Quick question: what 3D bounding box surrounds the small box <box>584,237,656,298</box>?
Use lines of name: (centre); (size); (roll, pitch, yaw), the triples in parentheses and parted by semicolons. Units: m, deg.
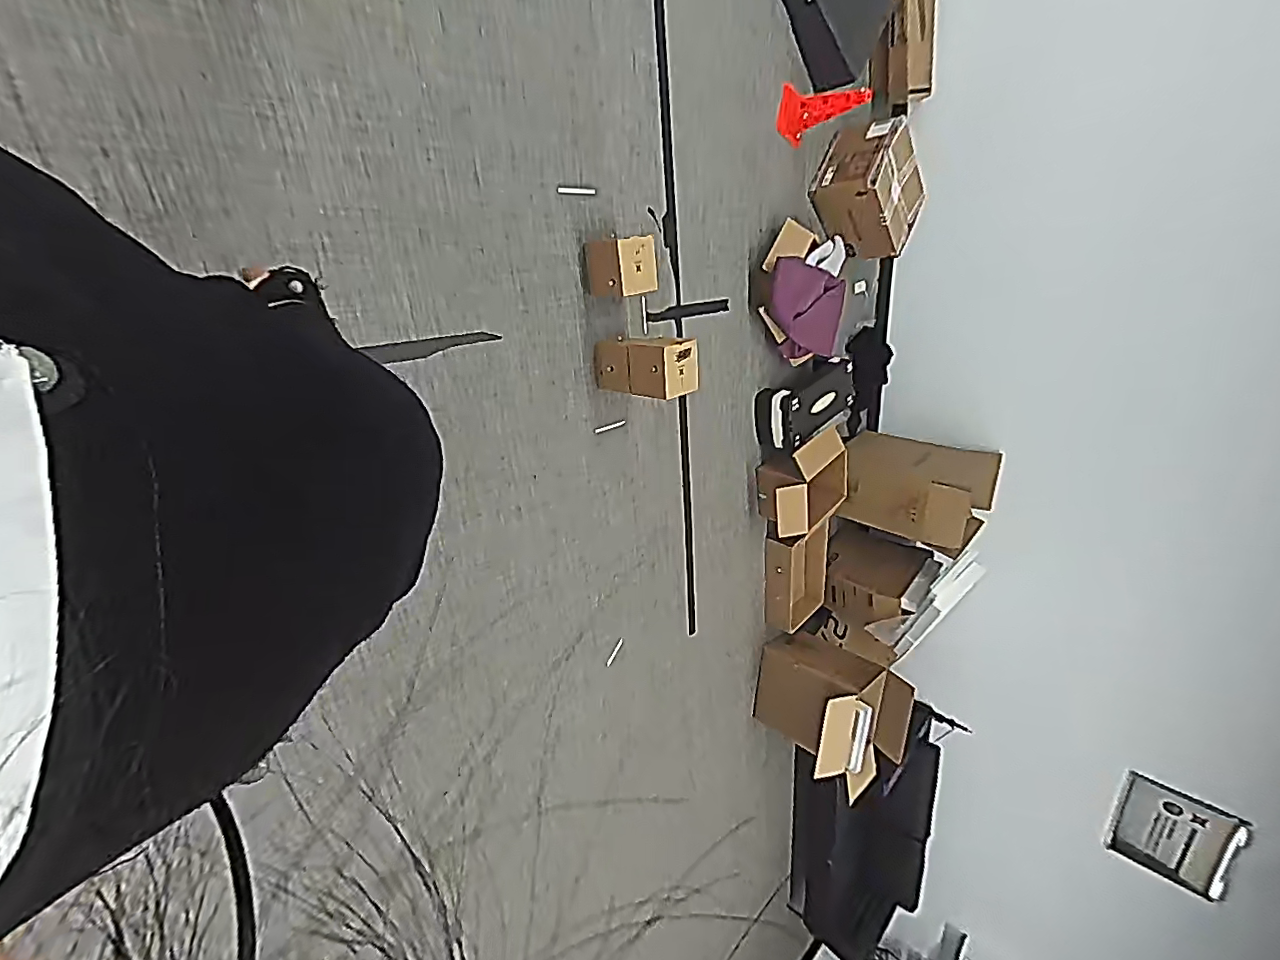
small box: (-0.068, -0.715, 1.821); (0.168, 0.176, 0.179); (-27, 121, -38)

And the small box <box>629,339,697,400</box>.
small box: (0.076, -0.382, 1.838); (0.168, 0.176, 0.179); (-24, 120, -39)

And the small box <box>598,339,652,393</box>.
small box: (-0.041, -0.415, 1.951); (0.179, 0.176, 0.168); (-22, 118, -39)
